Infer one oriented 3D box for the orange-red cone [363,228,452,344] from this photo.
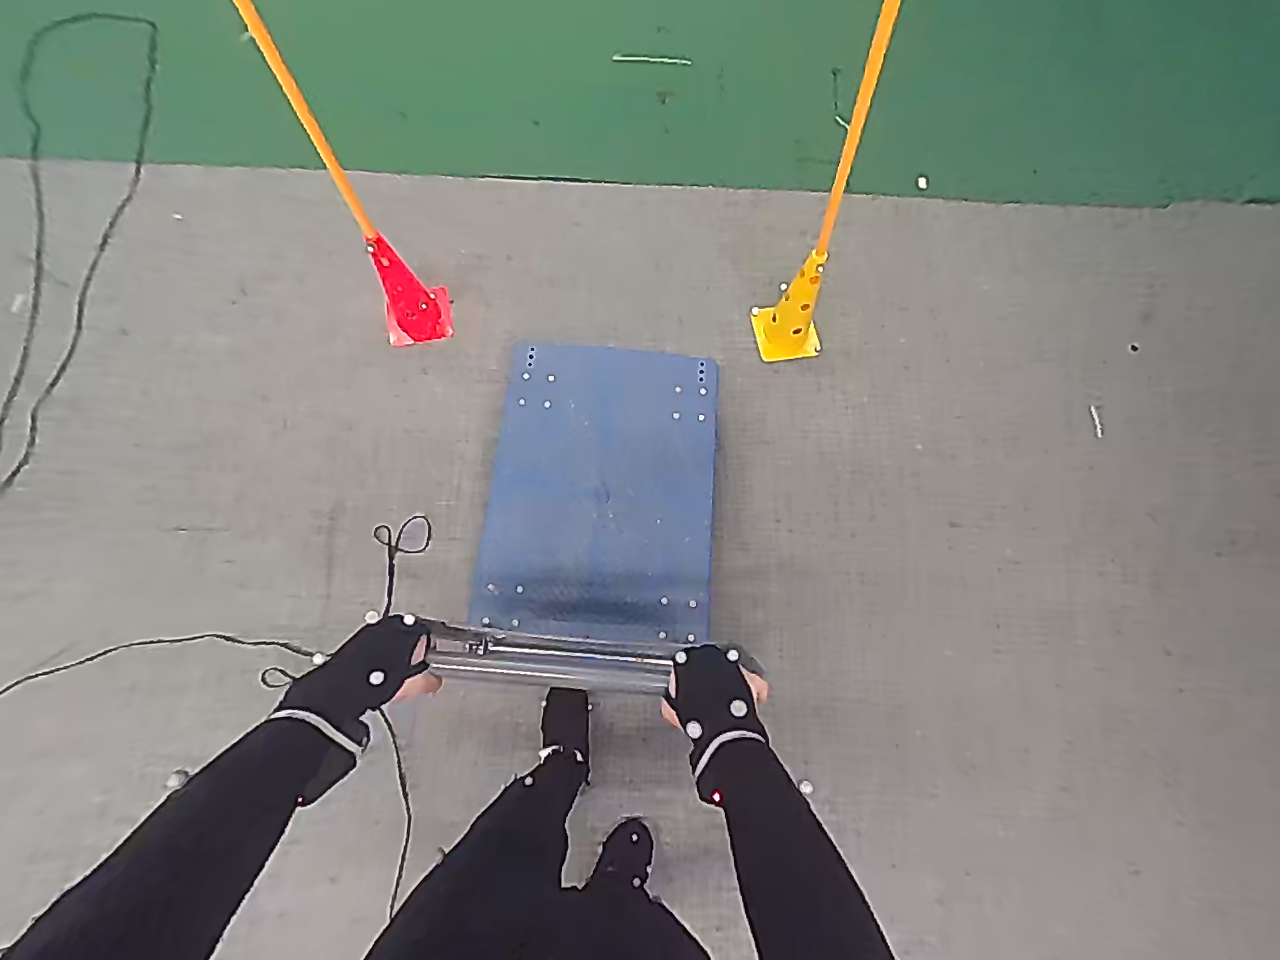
[{"bbox_3d":[-0.708,-0.585,1.575,0.199,0.360,0.198,-12,71,-4],"label":"orange-red cone"}]
